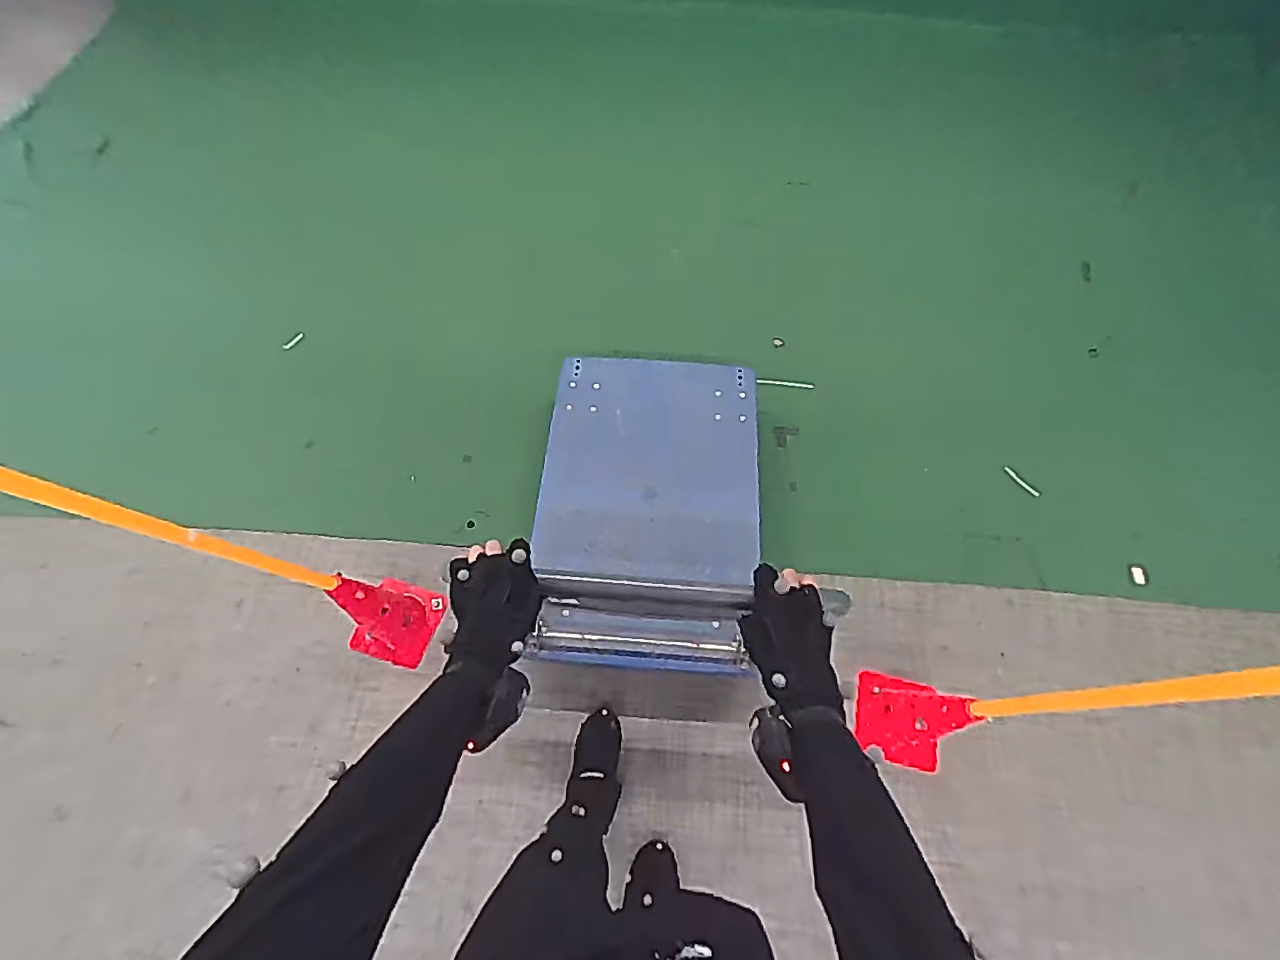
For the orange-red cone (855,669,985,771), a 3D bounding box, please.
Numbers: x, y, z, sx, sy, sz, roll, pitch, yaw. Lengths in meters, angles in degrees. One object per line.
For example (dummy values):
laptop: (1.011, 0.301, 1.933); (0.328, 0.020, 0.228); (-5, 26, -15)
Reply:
orange-red cone: (0.631, 0.506, 1.169); (0.198, 0.360, 0.199); (14, 65, 8)
